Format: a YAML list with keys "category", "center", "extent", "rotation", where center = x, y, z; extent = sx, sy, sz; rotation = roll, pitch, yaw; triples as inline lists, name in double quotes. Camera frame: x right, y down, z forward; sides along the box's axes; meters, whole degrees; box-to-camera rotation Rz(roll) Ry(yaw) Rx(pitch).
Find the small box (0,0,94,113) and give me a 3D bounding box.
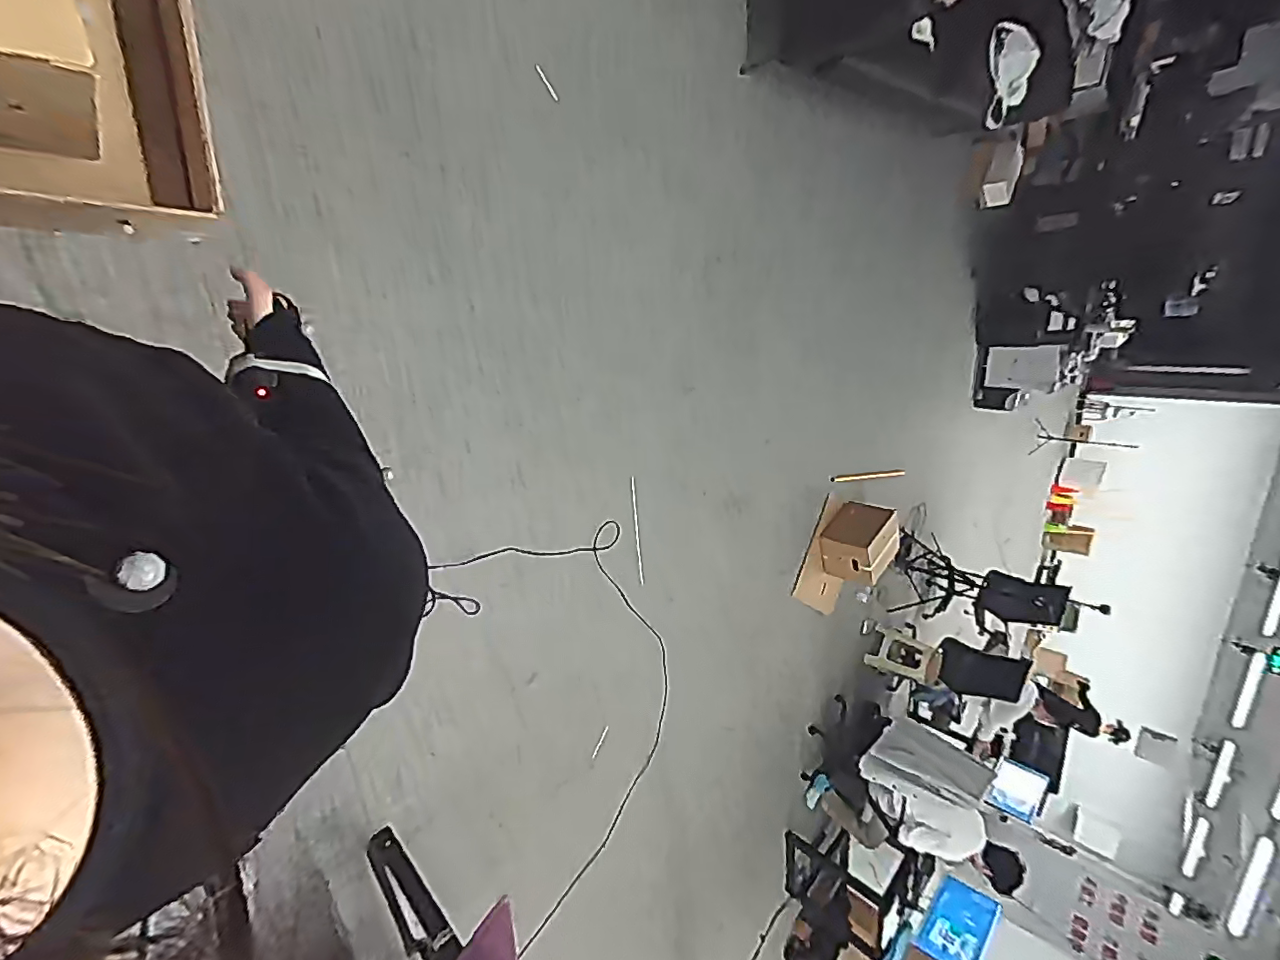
- category: "small box"
  center: [-0.595, -0.439, 0.454]
  extent: [0.168, 0.176, 0.179]
  rotation: [-18, 114, -41]
